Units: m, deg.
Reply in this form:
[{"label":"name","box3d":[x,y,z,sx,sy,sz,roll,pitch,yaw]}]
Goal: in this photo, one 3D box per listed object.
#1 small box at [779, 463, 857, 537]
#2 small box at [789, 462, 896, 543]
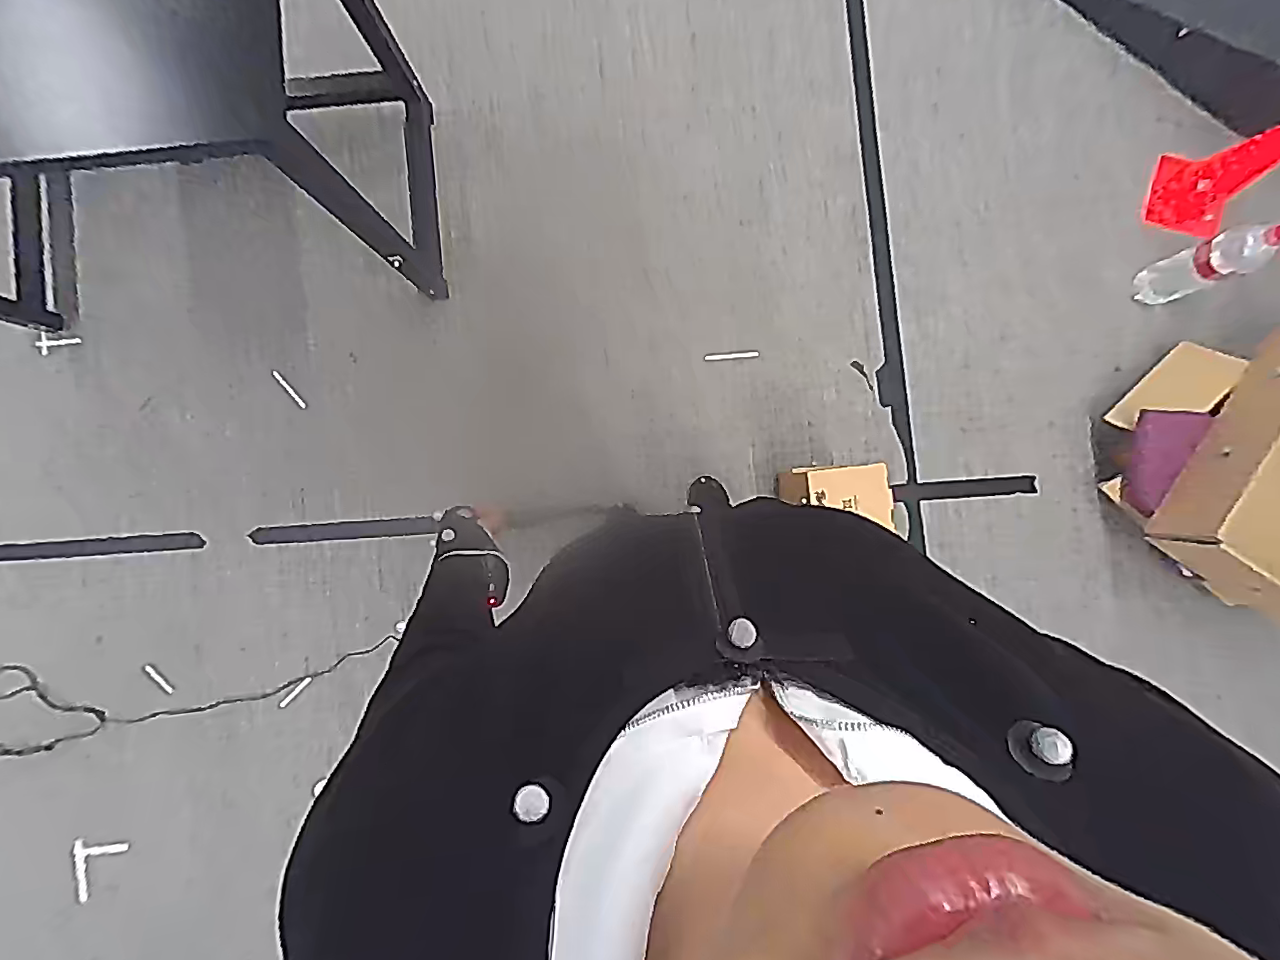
[{"label":"small box","box3d":[0.469,0.051,1.418,0.168,0.176,0.179,-5,88,1]},{"label":"small box","box3d":[0.462,0.050,1.254,0.179,0.176,0.168,-7,89,1]}]
